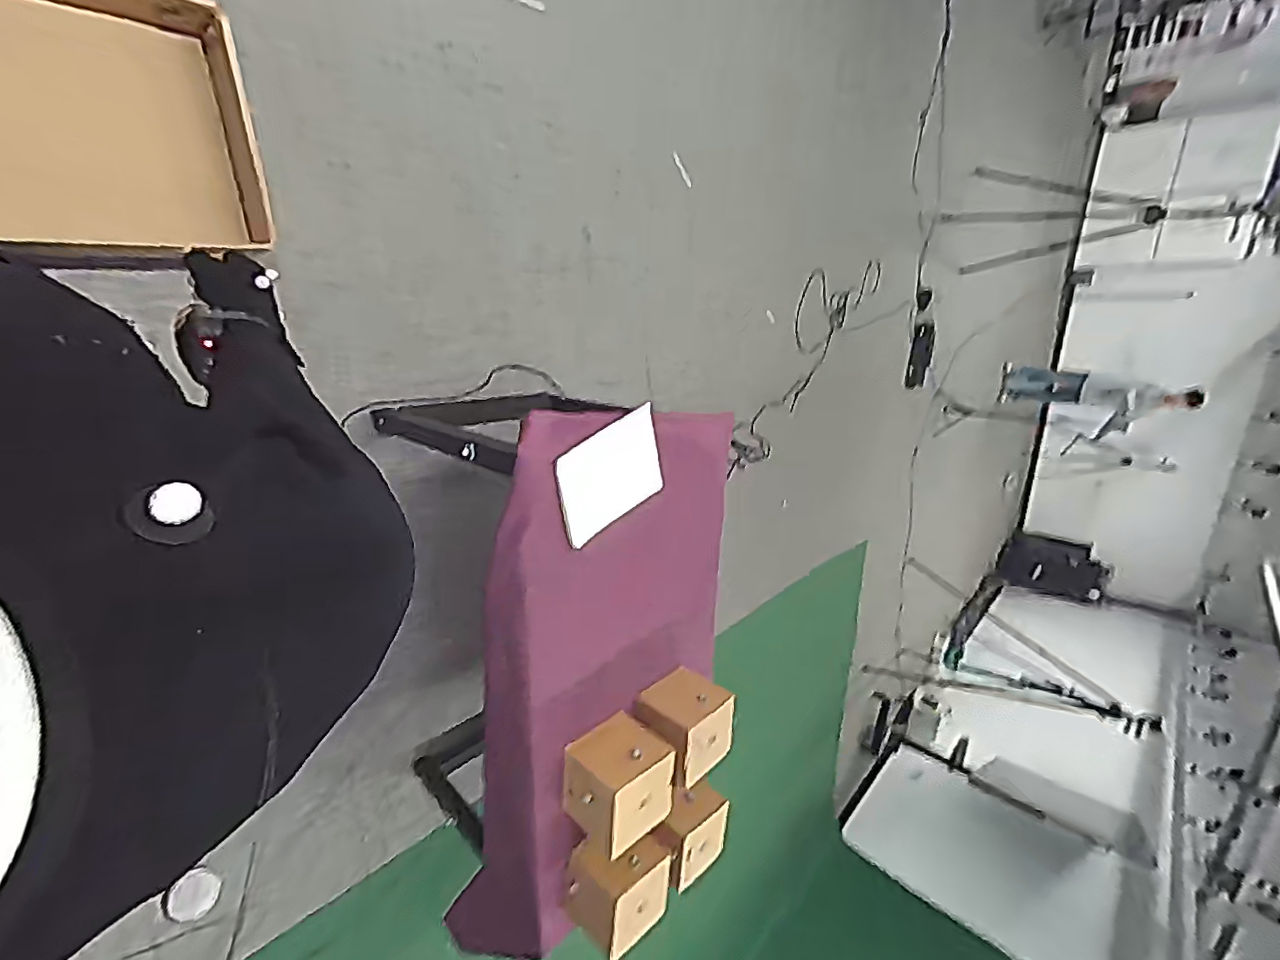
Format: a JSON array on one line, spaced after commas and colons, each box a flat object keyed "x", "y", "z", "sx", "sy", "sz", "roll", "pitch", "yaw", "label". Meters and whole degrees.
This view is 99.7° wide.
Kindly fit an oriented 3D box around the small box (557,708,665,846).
[{"x": -0.068, "y": 0.642, "z": 1.194, "sx": 0.179, "sy": 0.176, "sz": 0.168, "roll": -10, "pitch": 109, "yaw": -45, "label": "small box"}]

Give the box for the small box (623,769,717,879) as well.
[{"x": 0.079, "y": 0.885, "z": 1.432, "sx": 0.179, "sy": 0.176, "sz": 0.168, "roll": -8, "pitch": 108, "yaw": -46, "label": "small box"}]

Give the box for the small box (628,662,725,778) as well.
[{"x": 0.088, "y": 0.584, "z": 1.344, "sx": 0.179, "sy": 0.176, "sz": 0.168, "roll": -14, "pitch": 112, "yaw": -44, "label": "small box"}]
